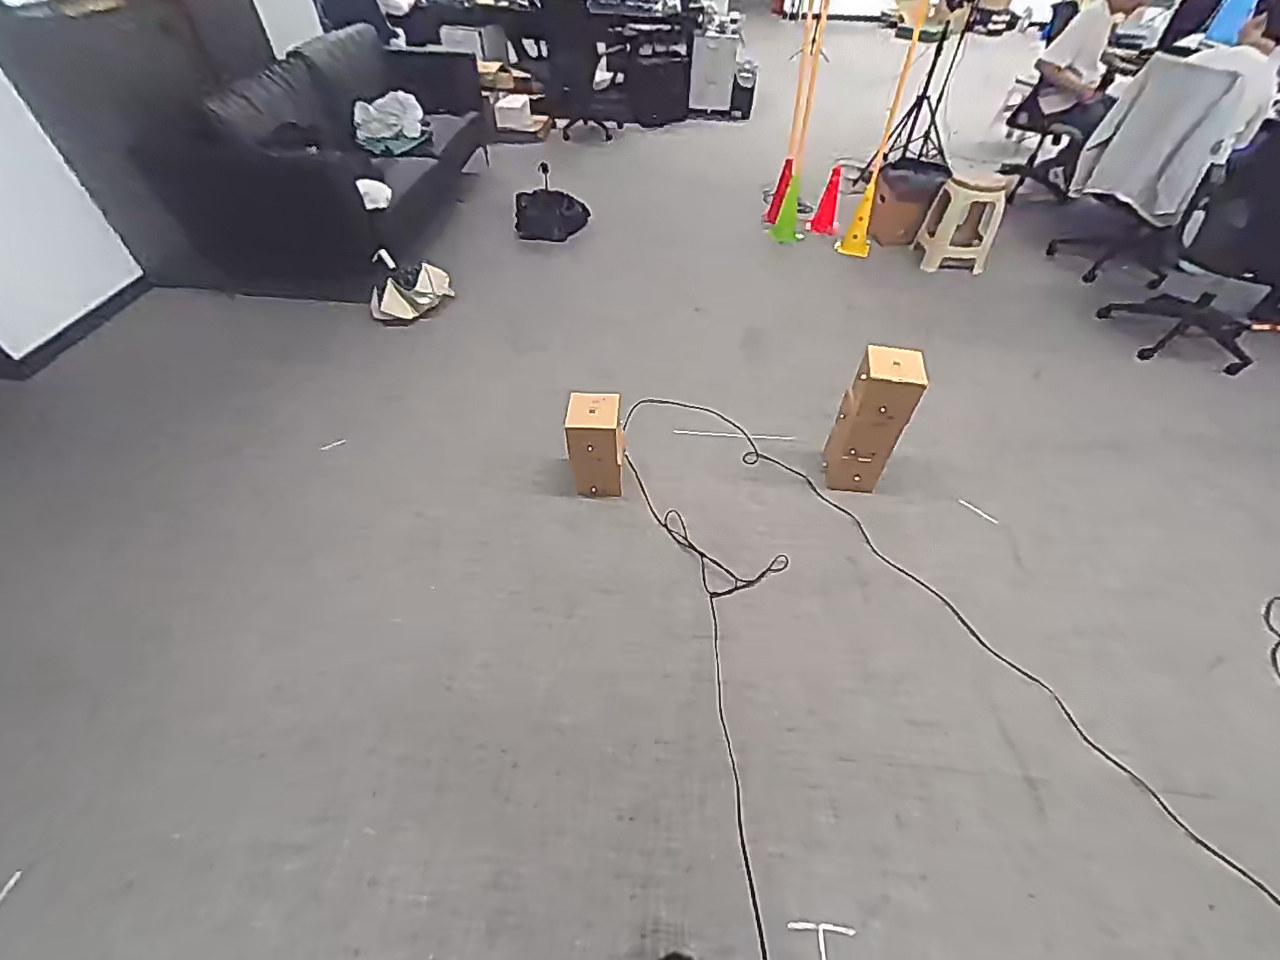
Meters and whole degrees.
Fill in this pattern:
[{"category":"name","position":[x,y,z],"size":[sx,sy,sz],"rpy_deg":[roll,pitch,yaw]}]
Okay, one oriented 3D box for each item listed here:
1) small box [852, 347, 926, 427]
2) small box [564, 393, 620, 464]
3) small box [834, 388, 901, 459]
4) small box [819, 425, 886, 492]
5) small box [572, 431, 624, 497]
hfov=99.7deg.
[{"category":"small box","position":[0.786,-0.297,1.727],"size":[0.168,0.176,0.179],"rpy_deg":[10,49,7]},{"category":"small box","position":[-0.156,-0.170,1.818],"size":[0.168,0.176,0.179],"rpy_deg":[2,48,1]},{"category":"small box","position":[0.776,-0.191,1.850],"size":[0.168,0.176,0.179],"rpy_deg":[6,47,4]},{"category":"small box","position":[0.768,-0.076,1.971],"size":[0.168,0.176,0.179],"rpy_deg":[5,50,0]},{"category":"small box","position":[-0.147,-0.063,1.942],"size":[0.168,0.176,0.179],"rpy_deg":[2,48,2]}]
